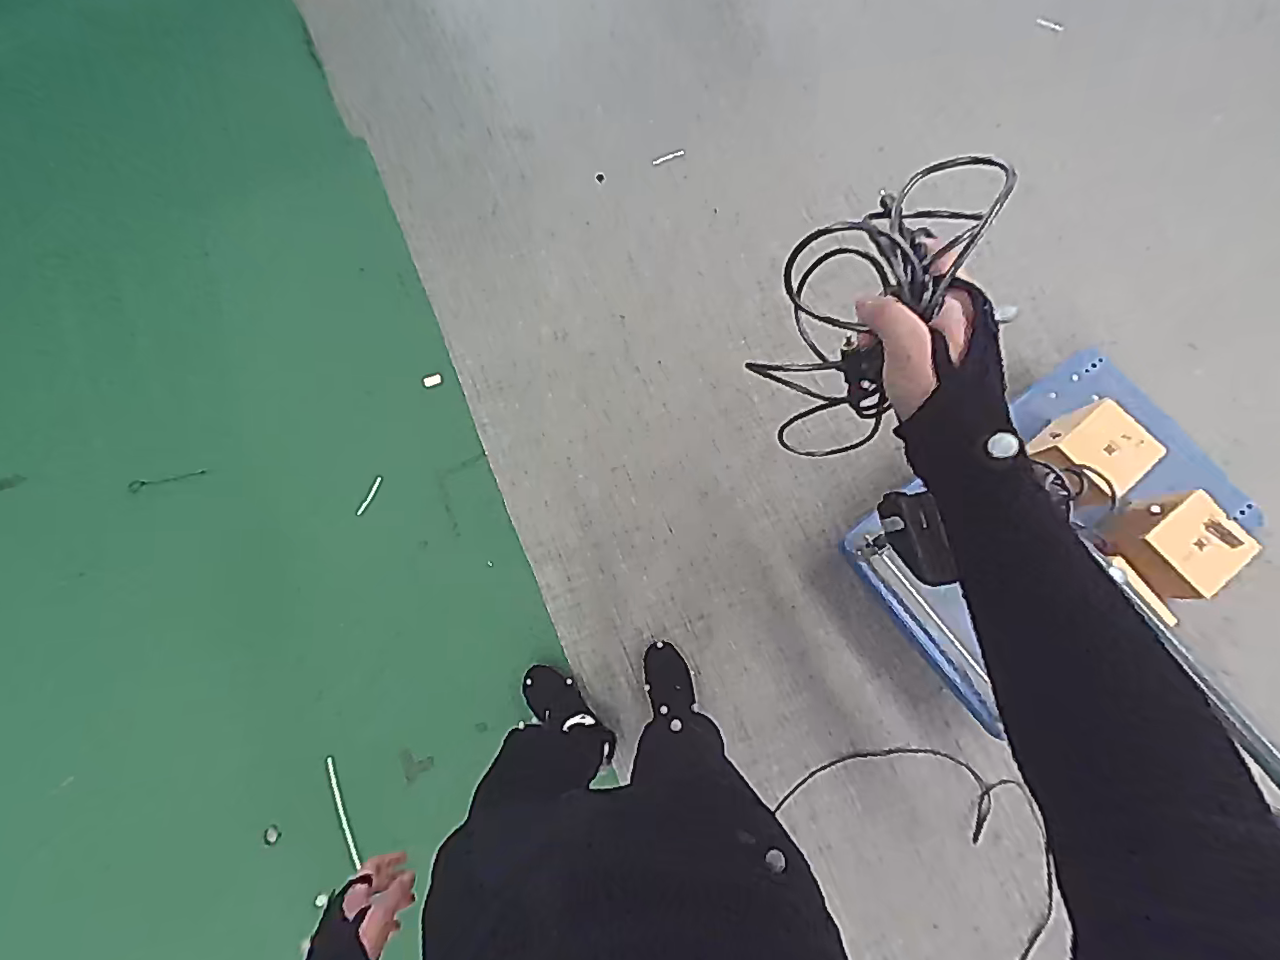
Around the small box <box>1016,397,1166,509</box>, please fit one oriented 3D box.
[{"bbox_3d":[1.017,-0.053,1.243,0.179,0.176,0.168,-39,80,-7],"label":"small box"}]

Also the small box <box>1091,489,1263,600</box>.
[{"bbox_3d":[1.170,0.147,1.195,0.179,0.176,0.168,-38,79,-6],"label":"small box"}]
